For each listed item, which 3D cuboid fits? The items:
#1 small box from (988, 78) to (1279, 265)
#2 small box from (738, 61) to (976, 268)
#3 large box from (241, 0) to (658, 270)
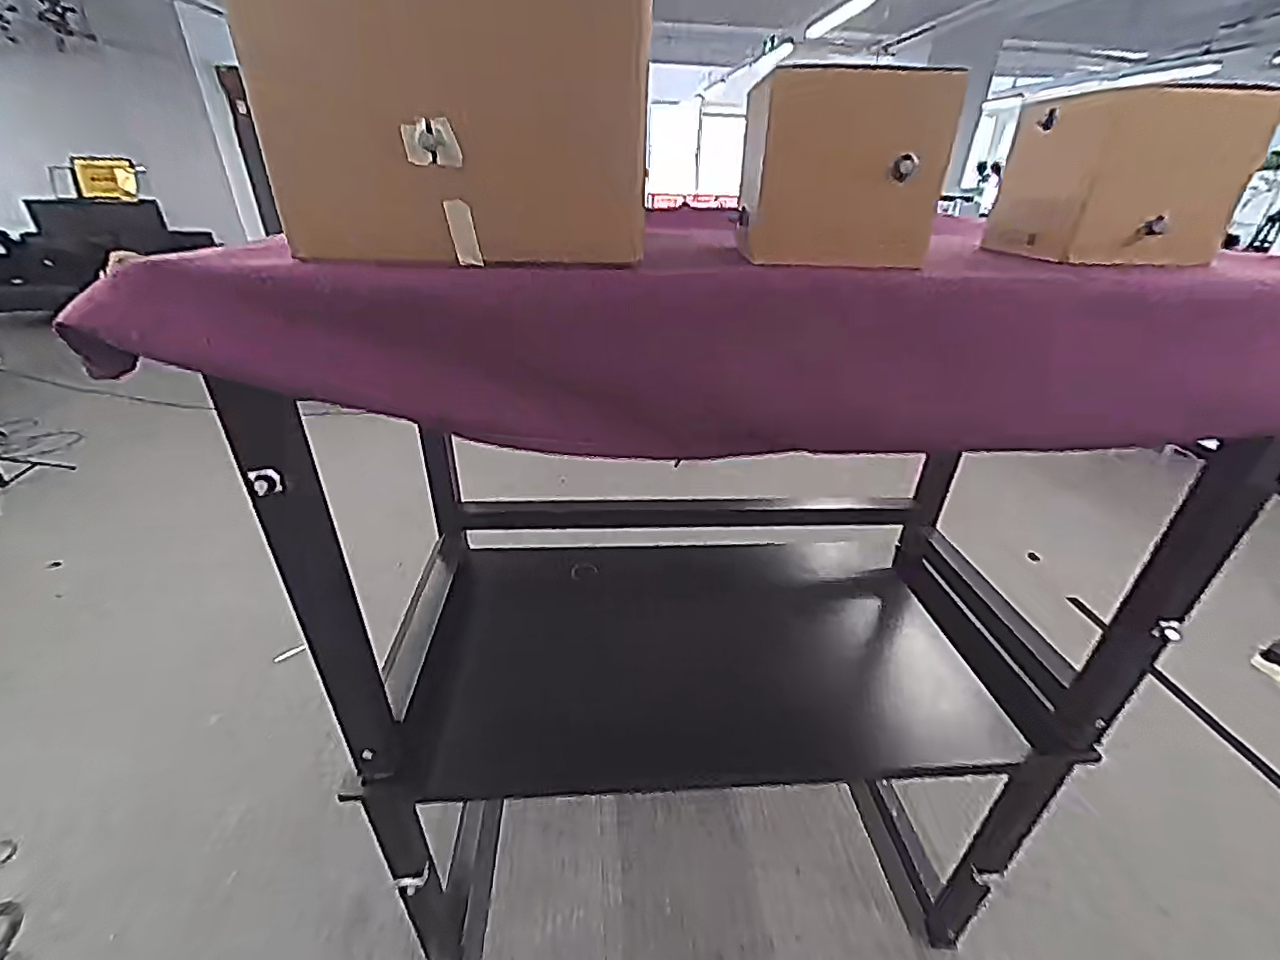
[{"bbox_3d":[0.557,-0.351,0.632,0.179,0.176,0.168,0,28,-2],"label":"small box"},{"bbox_3d":[0.208,-0.326,0.577,0.179,0.176,0.168,2,28,2],"label":"small box"},{"bbox_3d":[-0.161,-0.414,0.581,0.320,0.320,0.408,-1,28,-6],"label":"large box"}]
